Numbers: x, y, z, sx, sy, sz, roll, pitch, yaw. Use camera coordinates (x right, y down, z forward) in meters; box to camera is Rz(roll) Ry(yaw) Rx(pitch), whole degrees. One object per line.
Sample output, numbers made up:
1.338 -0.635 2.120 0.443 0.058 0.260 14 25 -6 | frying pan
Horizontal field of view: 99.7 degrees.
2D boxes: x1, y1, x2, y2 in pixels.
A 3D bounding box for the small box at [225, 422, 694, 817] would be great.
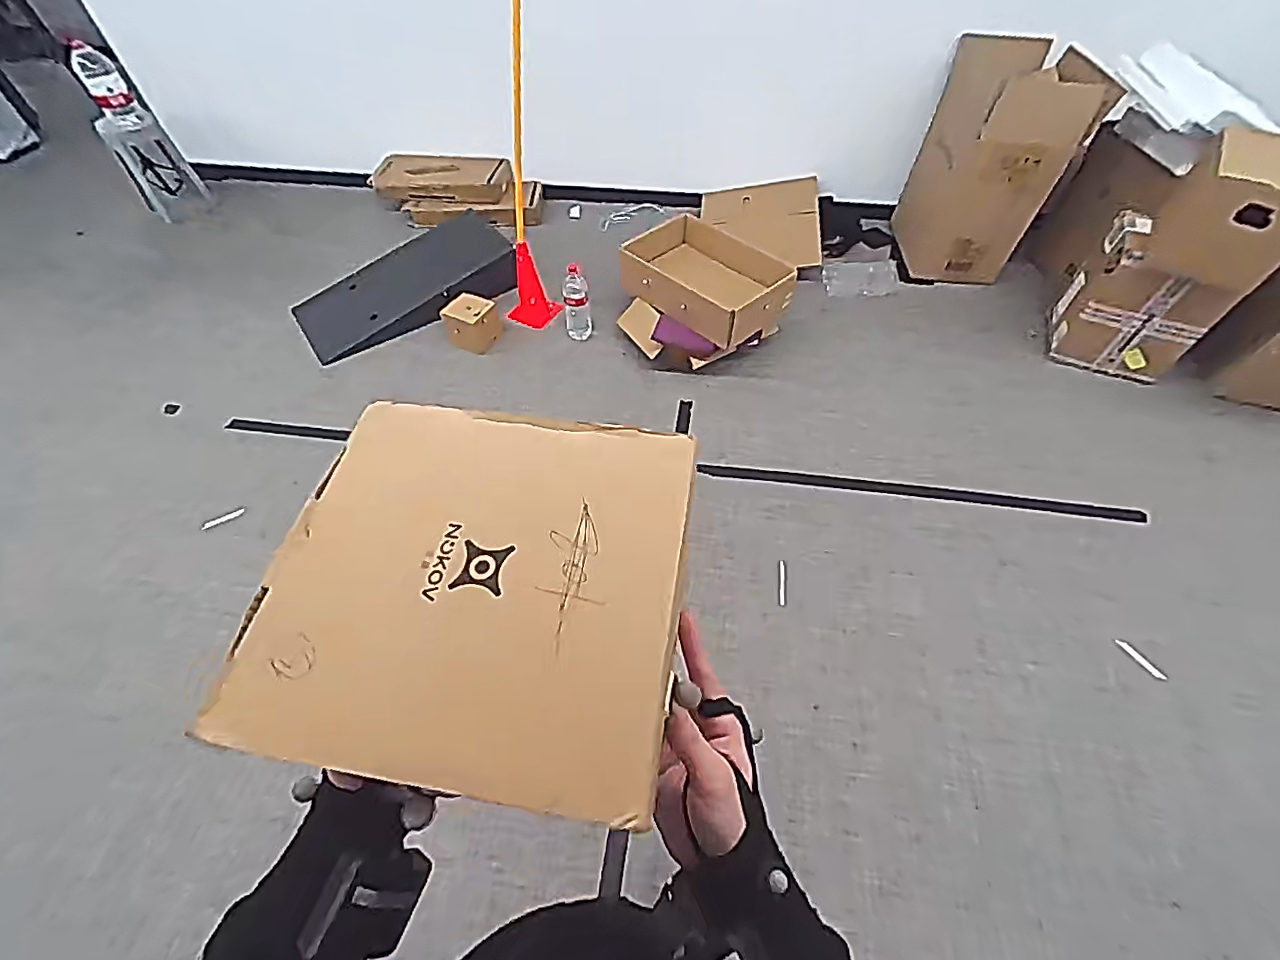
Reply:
-0.065 0.087 0.311 0.179 0.176 0.168 5 59 6 | small box
